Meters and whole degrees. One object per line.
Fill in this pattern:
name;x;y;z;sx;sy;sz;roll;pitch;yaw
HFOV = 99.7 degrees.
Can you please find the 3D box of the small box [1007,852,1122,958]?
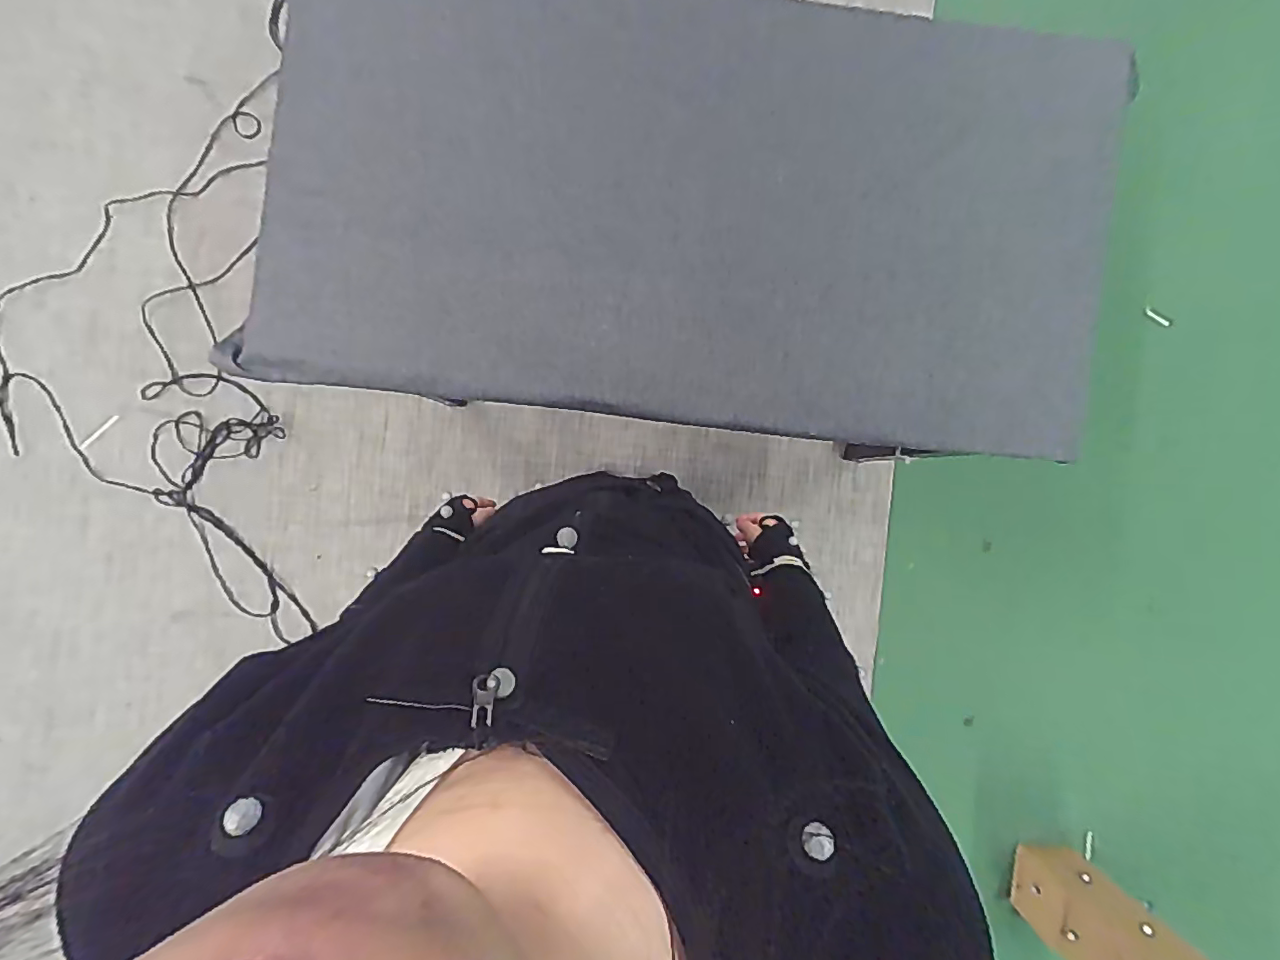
small box;1.120;1.129;1.439;0.179;0.176;0.168;7;90;-2
